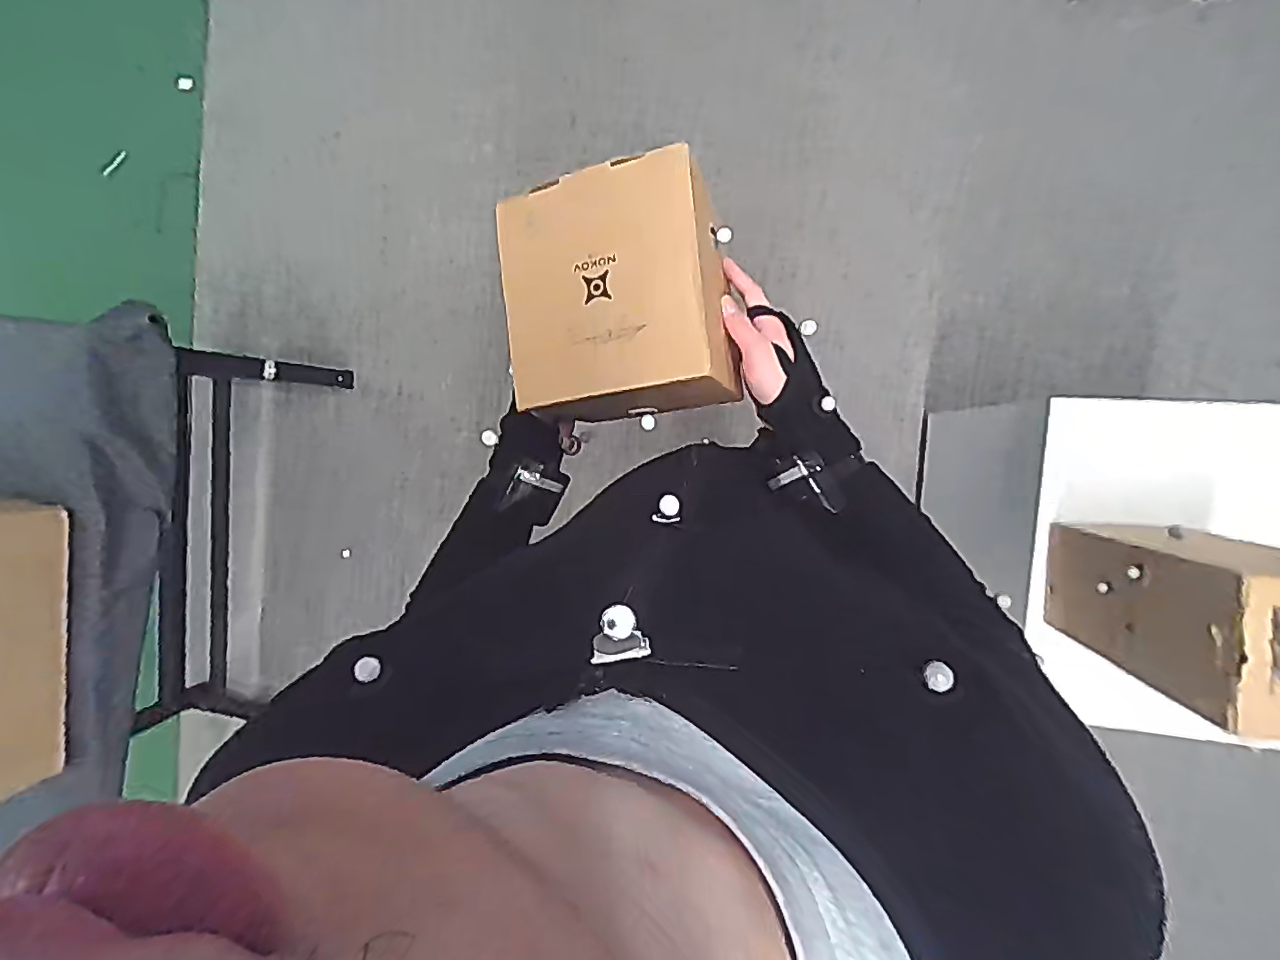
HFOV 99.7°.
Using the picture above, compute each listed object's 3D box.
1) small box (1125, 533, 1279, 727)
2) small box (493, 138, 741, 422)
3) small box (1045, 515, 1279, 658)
[{"bbox_3d":[0.683,0.154,0.588,0.179,0.176,0.168,1,95,9],"label":"small box"},{"bbox_3d":[-0.009,-0.157,0.492,0.168,0.176,0.179,-8,89,19],"label":"small box"},{"bbox_3d":[0.710,0.141,0.750,0.179,0.176,0.168,0,94,9],"label":"small box"}]
